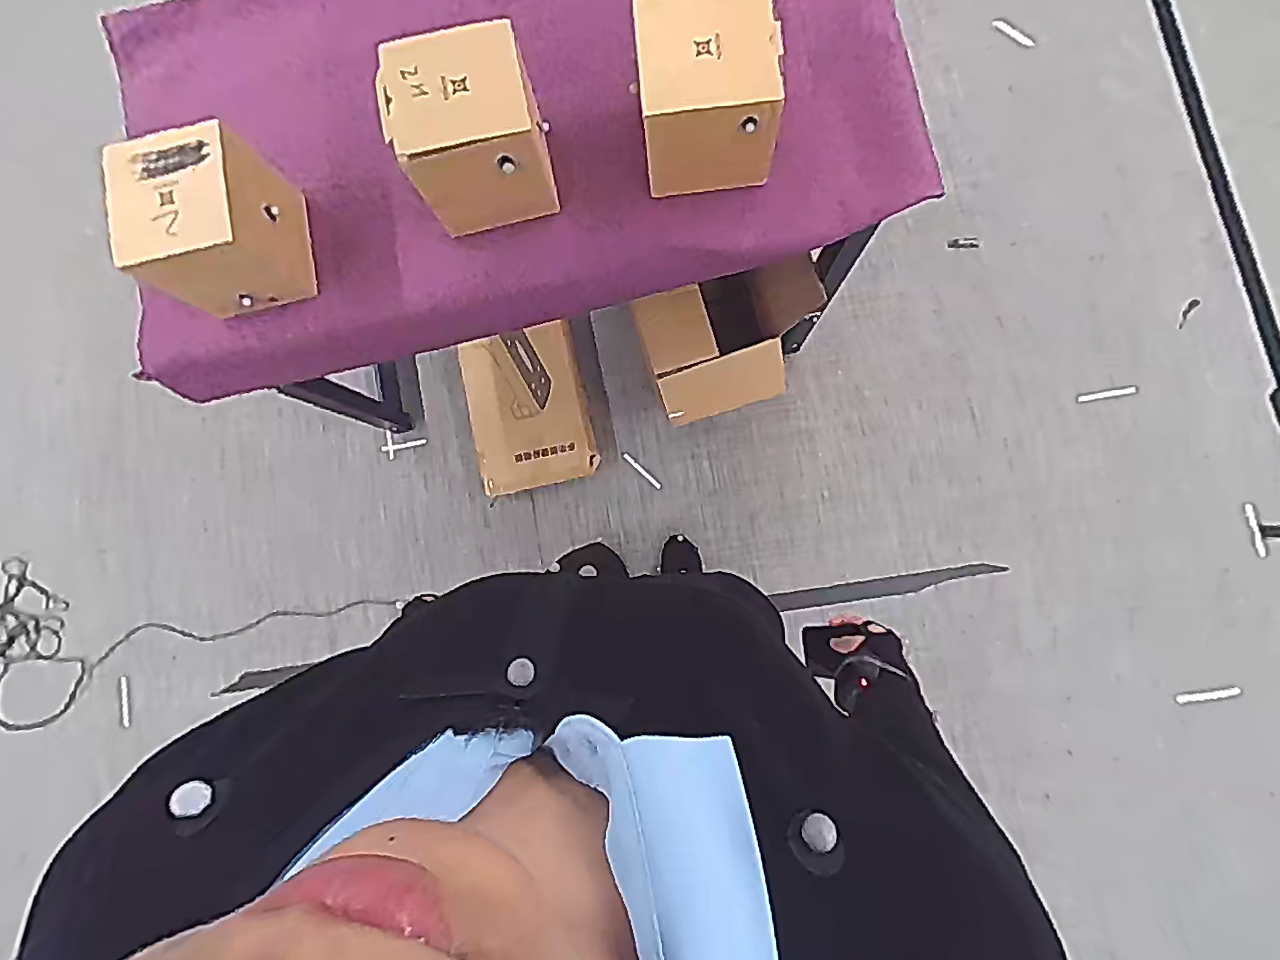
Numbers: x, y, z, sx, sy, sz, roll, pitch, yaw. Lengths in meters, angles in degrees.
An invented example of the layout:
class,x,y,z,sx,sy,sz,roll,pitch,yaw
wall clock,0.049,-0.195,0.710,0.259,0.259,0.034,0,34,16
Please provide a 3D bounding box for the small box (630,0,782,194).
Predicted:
class,x,y,z,sx,sy,sz,roll,pitch,yaw
small box,0.086,-0.523,0.744,0.179,0.176,0.168,-5,84,3

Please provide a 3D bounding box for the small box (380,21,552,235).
class,x,y,z,sx,sy,sz,roll,pitch,yaw
small box,-0.229,-0.478,0.759,0.179,0.176,0.168,-13,81,3
